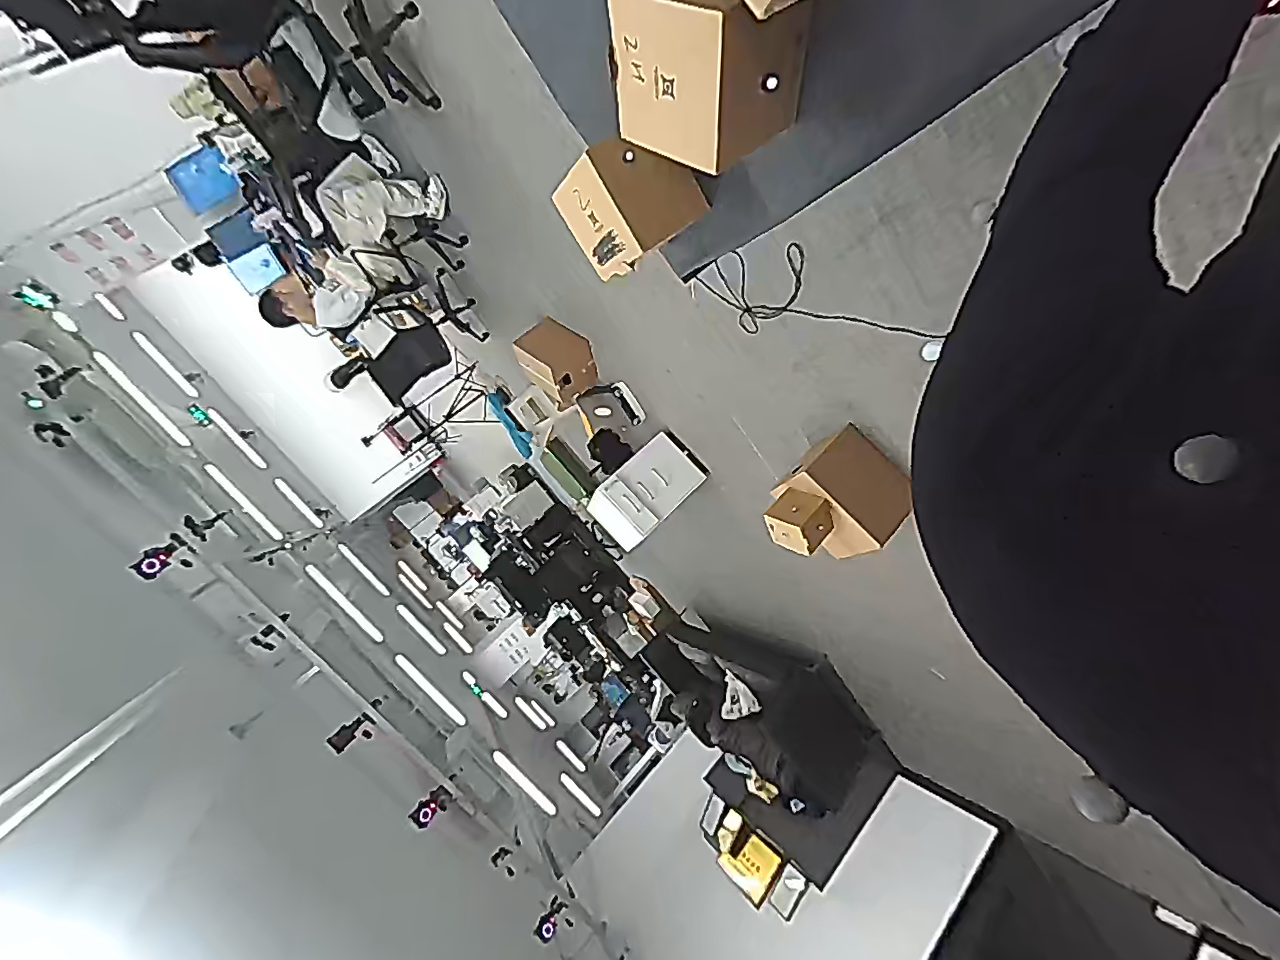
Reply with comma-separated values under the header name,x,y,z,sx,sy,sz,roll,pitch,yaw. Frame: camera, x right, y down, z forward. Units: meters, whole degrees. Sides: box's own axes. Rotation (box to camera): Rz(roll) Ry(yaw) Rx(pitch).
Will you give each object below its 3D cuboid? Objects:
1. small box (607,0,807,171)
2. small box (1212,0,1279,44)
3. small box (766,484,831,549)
name,x,y,z,sx,sy,sz,roll,pitch,yaw
small box,0.085,-0.529,0.676,0.179,0.176,0.168,38,158,25
small box,0.945,-0.682,0.703,0.176,0.168,0.179,13,127,5
small box,0.625,0.136,2.108,0.179,0.176,0.168,20,147,48
